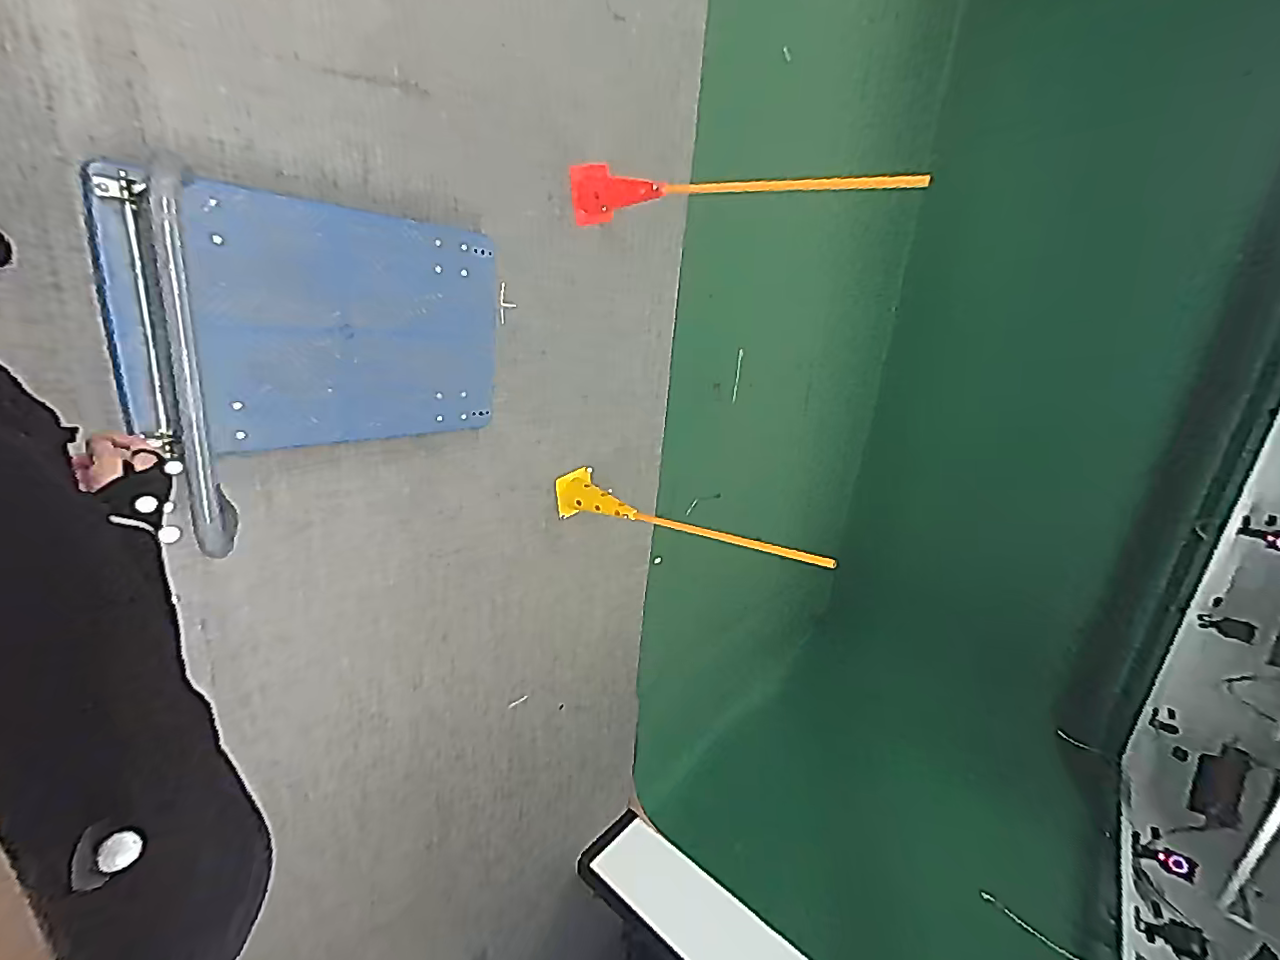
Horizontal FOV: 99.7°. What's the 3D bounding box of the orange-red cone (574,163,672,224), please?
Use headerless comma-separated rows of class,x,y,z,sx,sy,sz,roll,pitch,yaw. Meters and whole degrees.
orange-red cone,-0.038,-1.032,1.925,0.198,0.360,0.199,-32,127,-40
